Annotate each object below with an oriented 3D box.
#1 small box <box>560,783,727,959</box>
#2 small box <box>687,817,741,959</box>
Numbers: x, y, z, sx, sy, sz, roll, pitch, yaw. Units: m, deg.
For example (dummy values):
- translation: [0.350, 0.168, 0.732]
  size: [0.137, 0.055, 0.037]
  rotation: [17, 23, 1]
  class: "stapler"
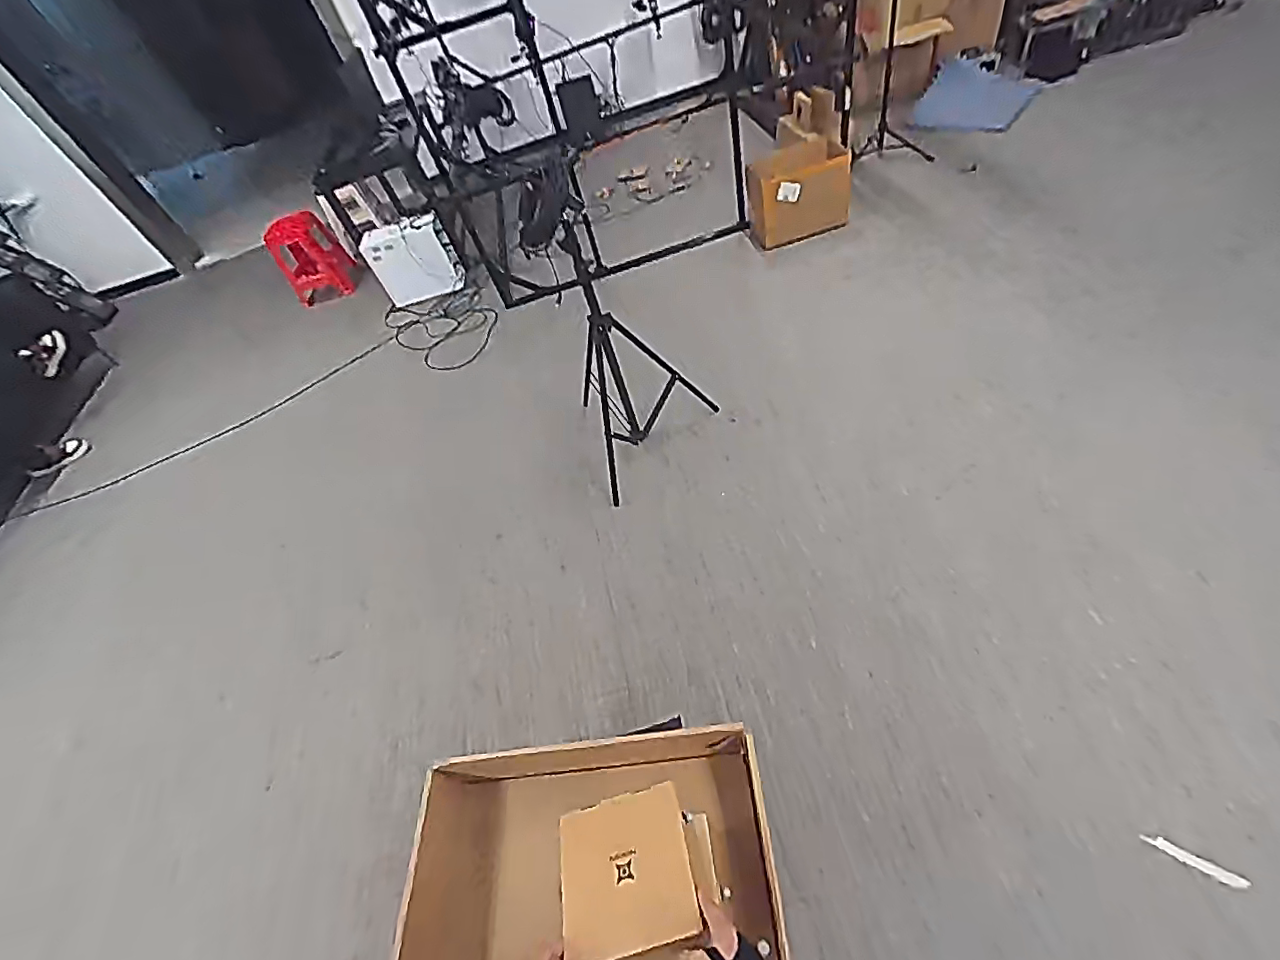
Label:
- translation: [0.003, 0.541, 0.697]
  size: [0.168, 0.176, 0.179]
  rotation: [-18, 30, 0]
  class: "small box"
- translation: [0.057, 0.654, 0.850]
  size: [0.168, 0.176, 0.179]
  rotation: [-13, 47, 7]
  class: "small box"
